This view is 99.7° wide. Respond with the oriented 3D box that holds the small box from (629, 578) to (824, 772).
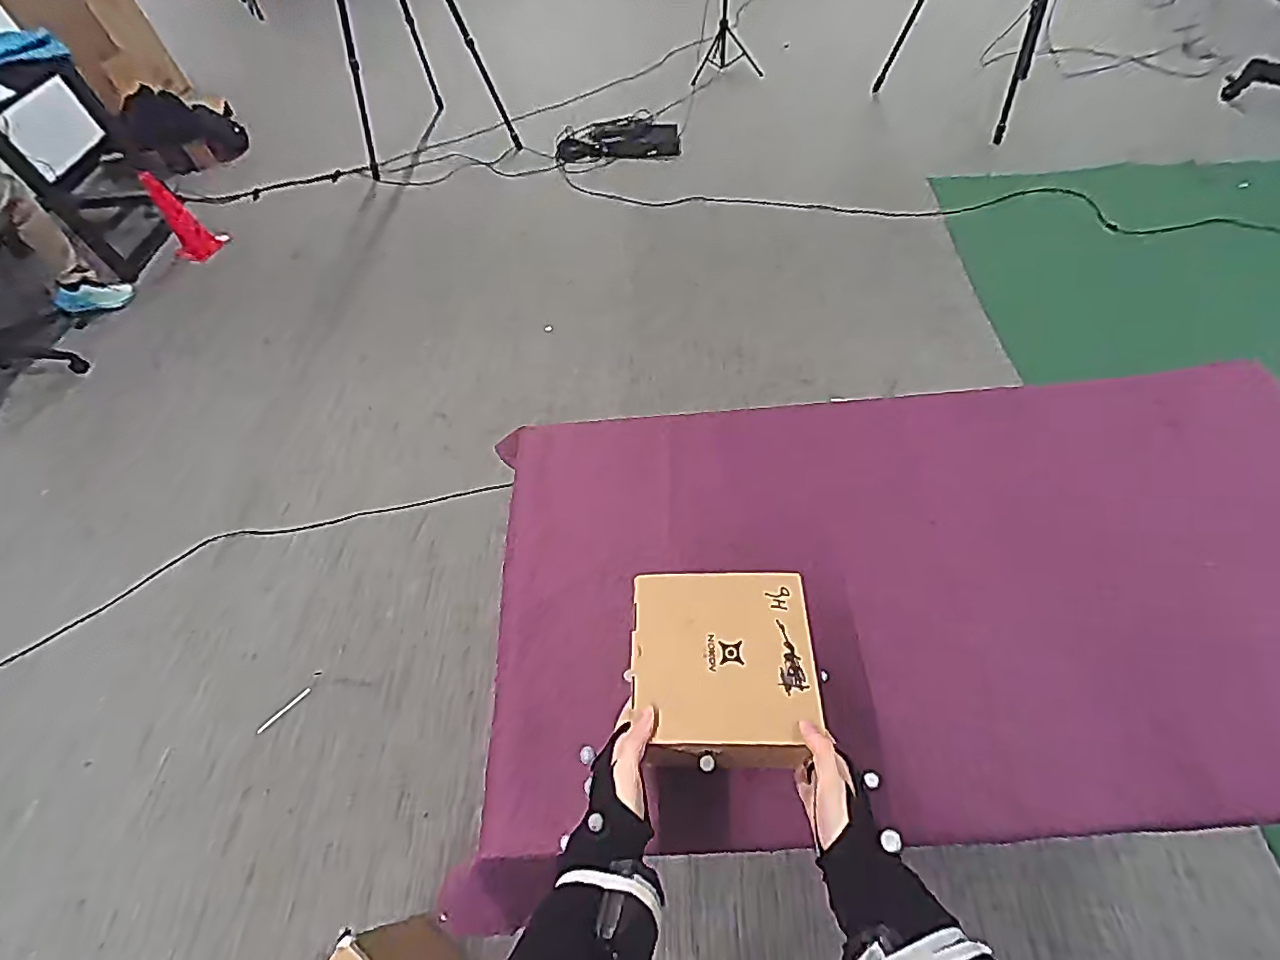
[{"bbox_3d":[0.086,0.217,0.589,0.179,0.176,0.168,-2,56,5],"label":"small box"}]
